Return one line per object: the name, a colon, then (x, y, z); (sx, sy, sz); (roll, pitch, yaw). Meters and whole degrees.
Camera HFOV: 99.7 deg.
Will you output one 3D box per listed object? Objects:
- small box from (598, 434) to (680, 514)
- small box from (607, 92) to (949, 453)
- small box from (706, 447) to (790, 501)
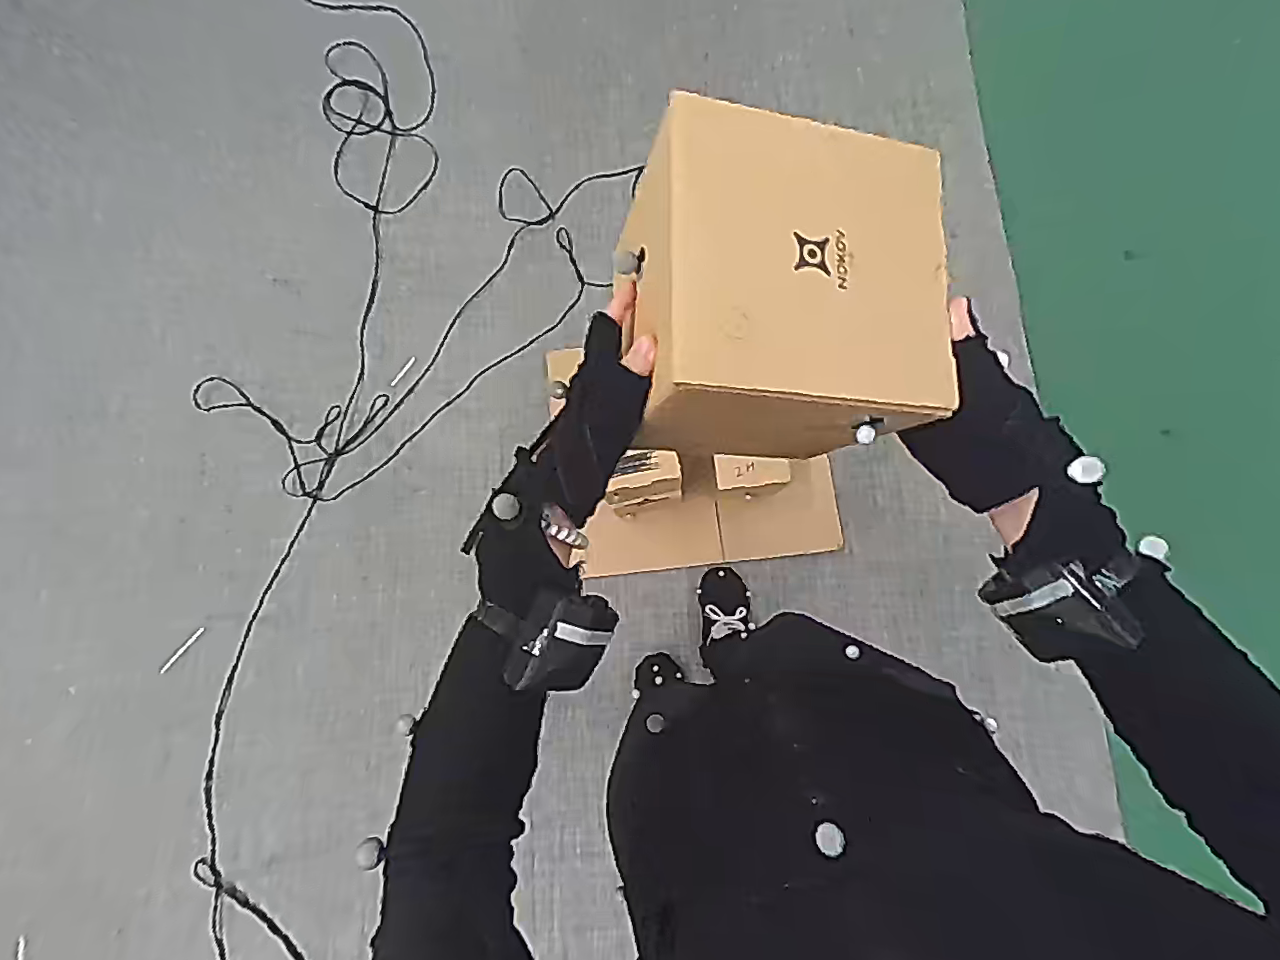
small box: (0.003, -0.018, 1.301); (0.168, 0.176, 0.179); (-11, 79, 1)
small box: (0.075, -0.116, 0.378); (0.179, 0.176, 0.168); (2, 82, -14)
small box: (0.251, -0.055, 1.298); (0.168, 0.176, 0.179); (-7, 80, 3)
